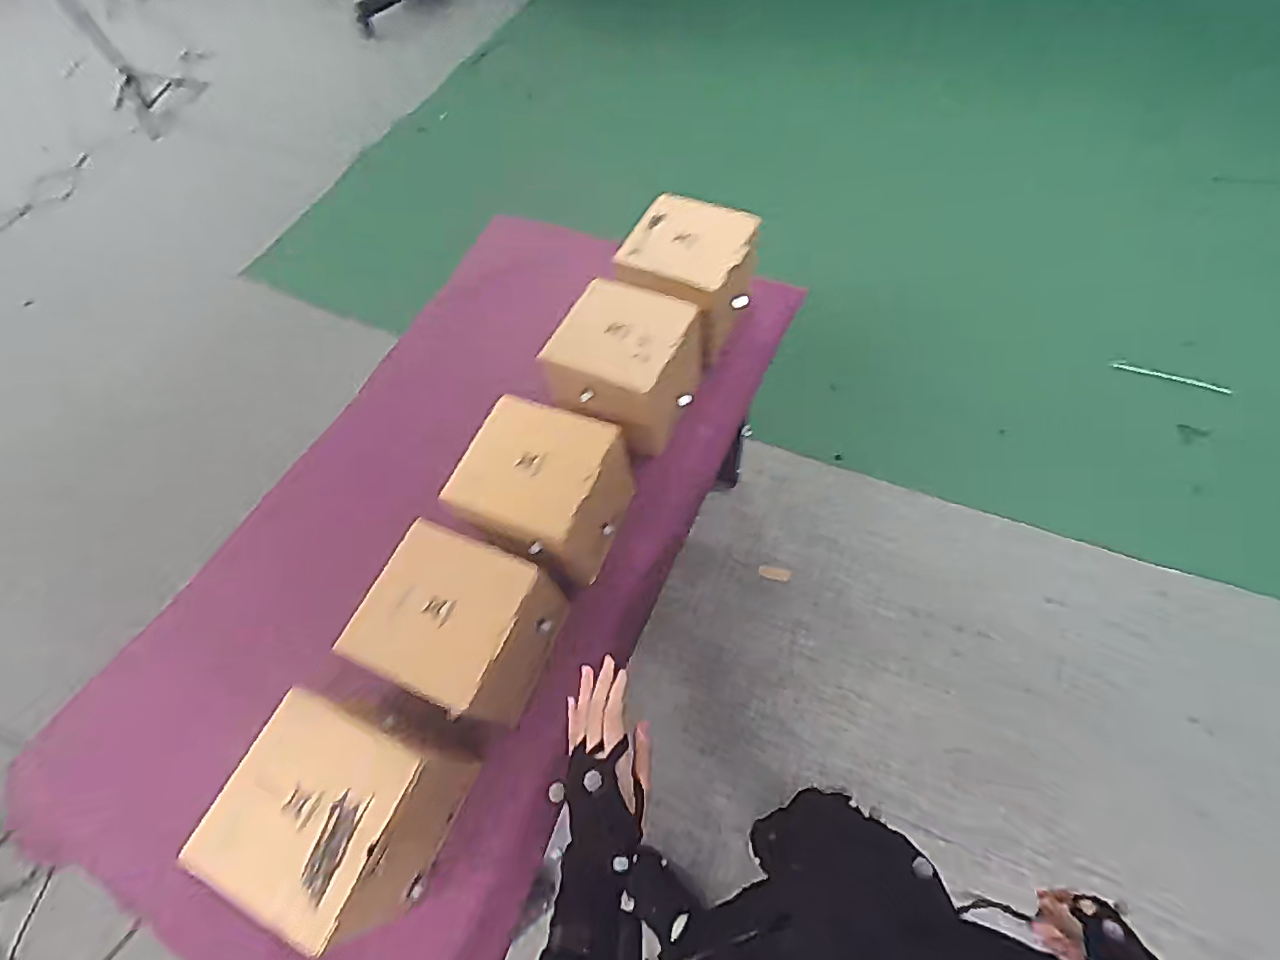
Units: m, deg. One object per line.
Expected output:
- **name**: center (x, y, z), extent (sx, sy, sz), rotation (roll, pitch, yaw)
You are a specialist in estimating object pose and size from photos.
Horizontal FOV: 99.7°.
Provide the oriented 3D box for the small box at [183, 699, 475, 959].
- **small box**: center (-0.312, 0.359, 0.586), extent (0.179, 0.176, 0.168), rotation (18, 66, 16)
